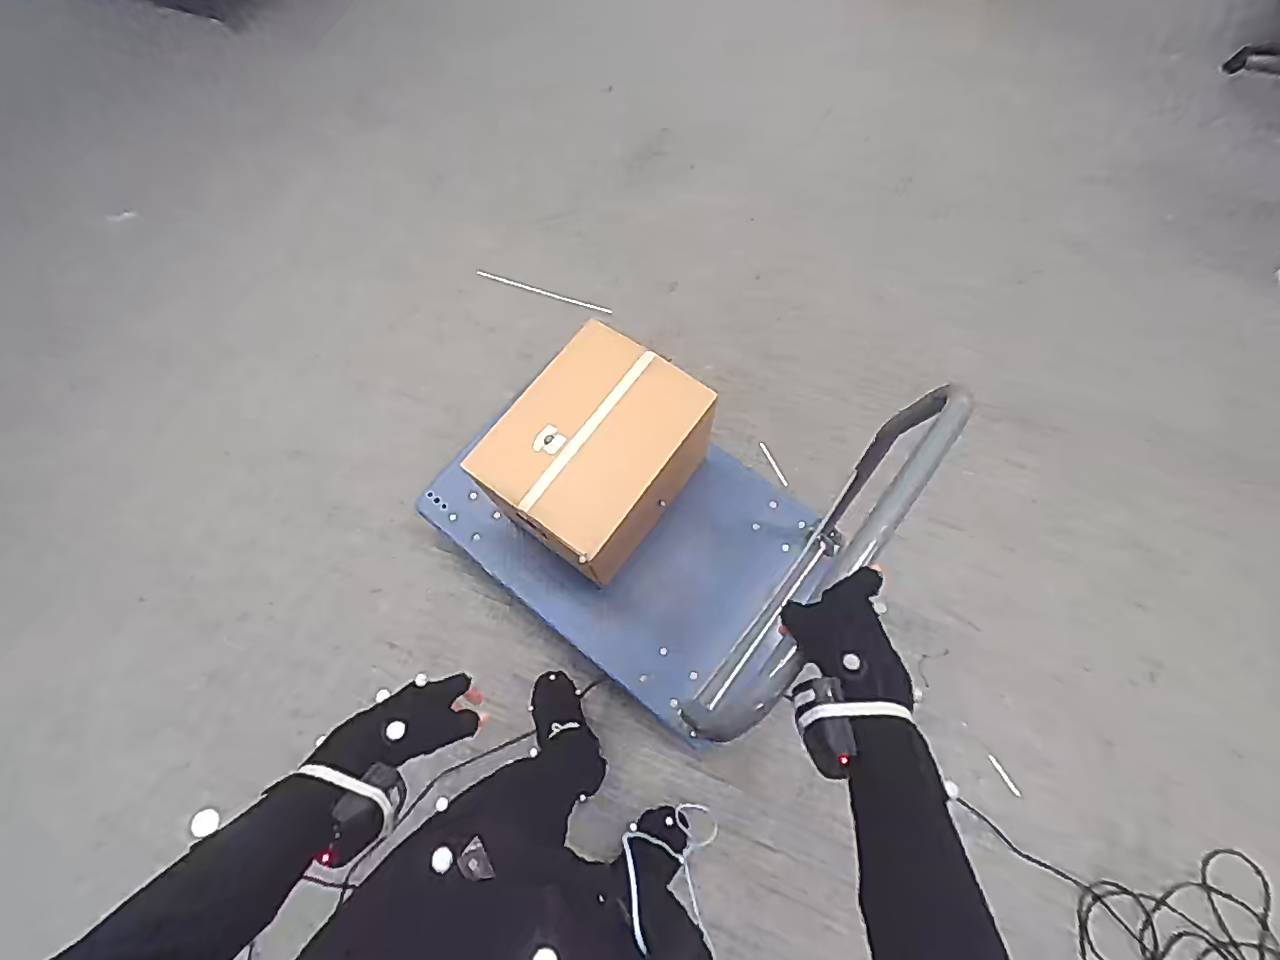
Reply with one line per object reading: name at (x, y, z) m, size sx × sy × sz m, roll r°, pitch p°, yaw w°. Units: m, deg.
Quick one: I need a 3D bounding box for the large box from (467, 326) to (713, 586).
large box at (-0.086, -0.038, 1.168) m, size 0.320 × 0.320 × 0.408 m, roll 34°, pitch 75°, yaw 14°
